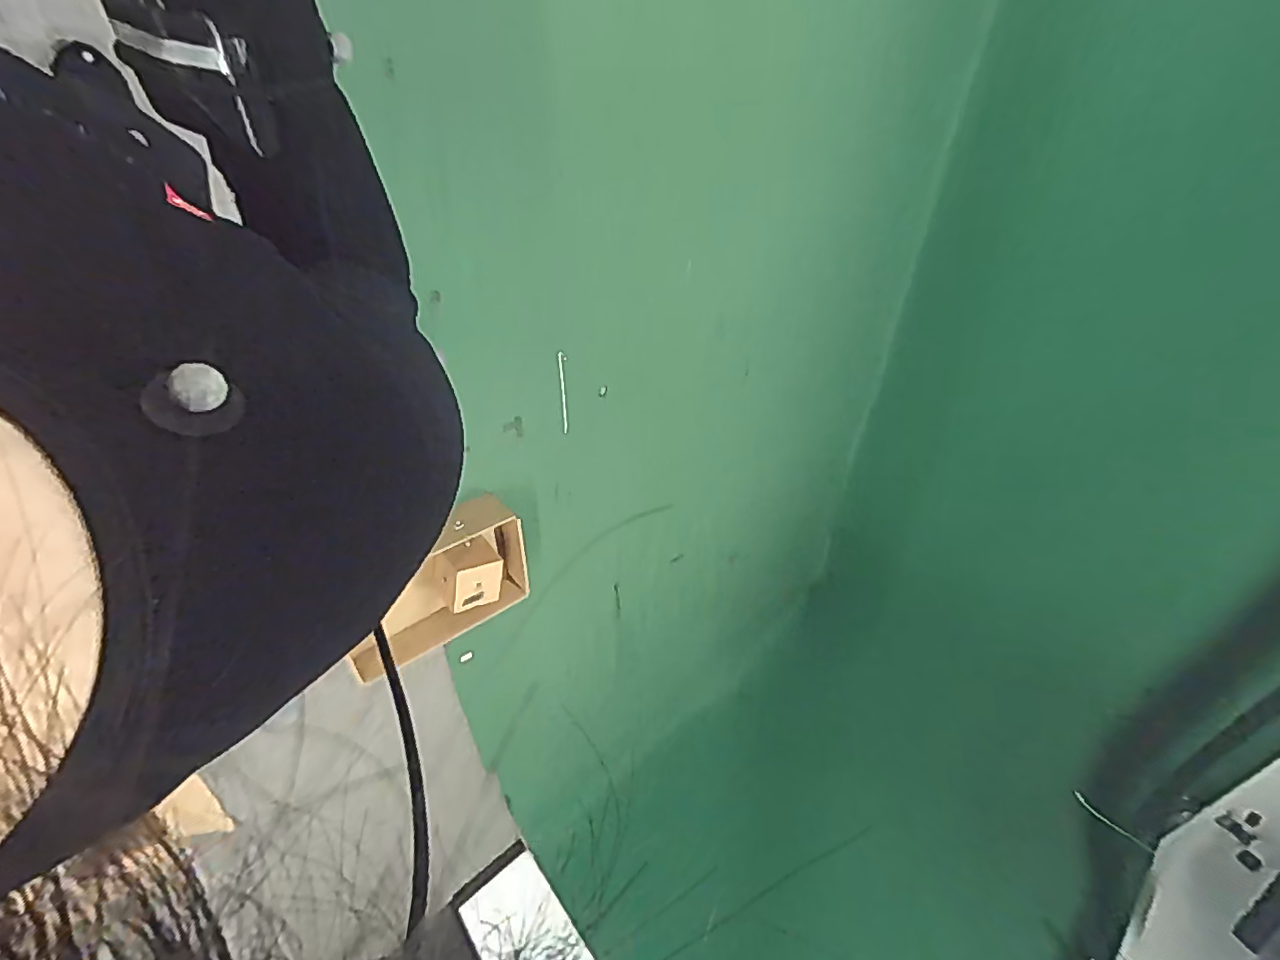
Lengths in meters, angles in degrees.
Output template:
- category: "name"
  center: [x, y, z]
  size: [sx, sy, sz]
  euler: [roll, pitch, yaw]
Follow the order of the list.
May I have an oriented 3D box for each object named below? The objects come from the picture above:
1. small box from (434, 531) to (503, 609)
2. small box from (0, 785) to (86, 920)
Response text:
- category: "small box"
  center: [-0.590, 0.302, 1.843]
  size: [0.168, 0.176, 0.179]
  euler: [-12, 126, -41]
- category: "small box"
  center: [-1.355, 0.809, 1.181]
  size: [0.168, 0.176, 0.179]
  euler: [-16, 128, -36]
